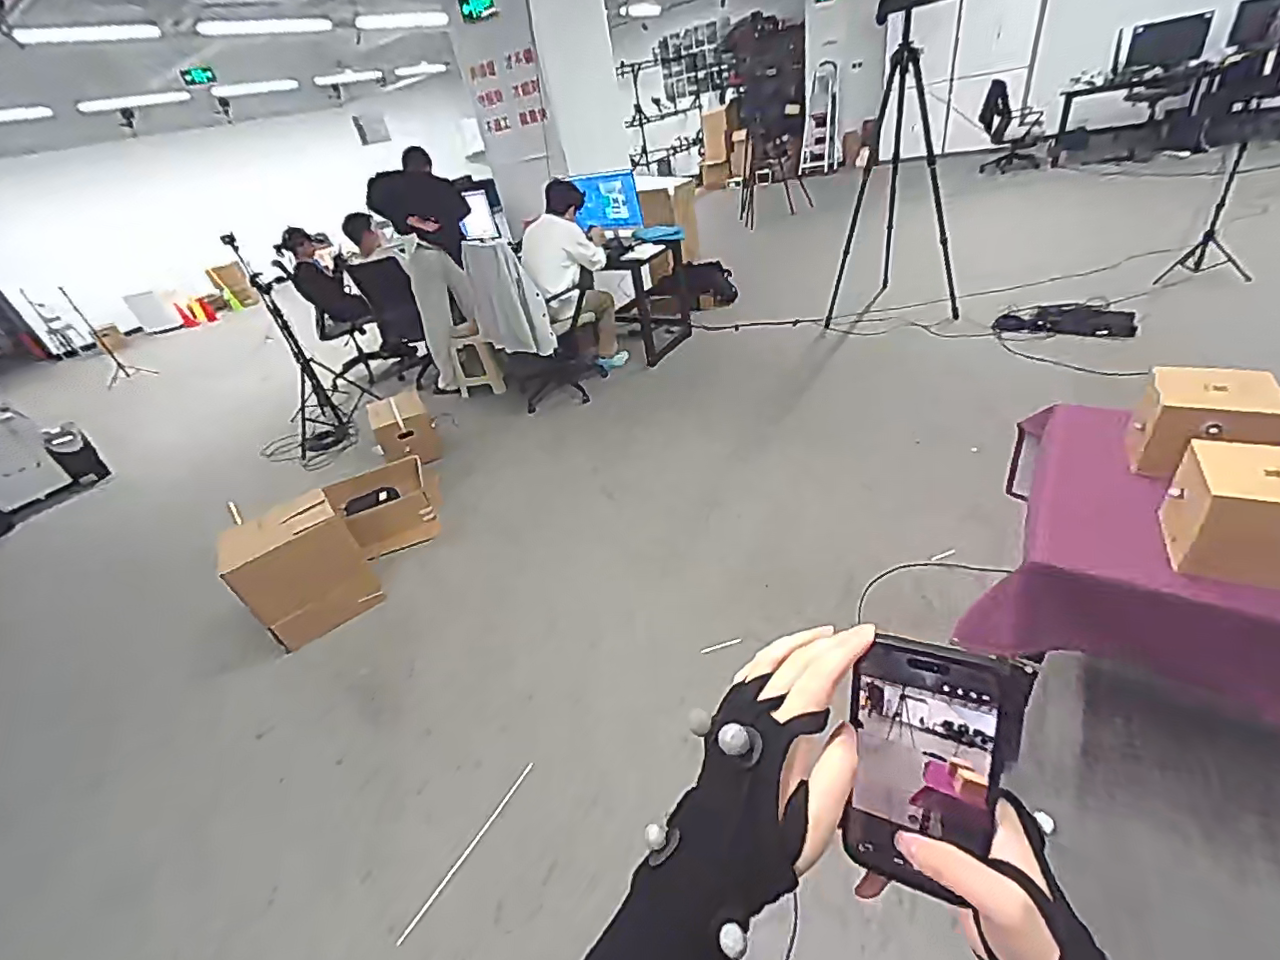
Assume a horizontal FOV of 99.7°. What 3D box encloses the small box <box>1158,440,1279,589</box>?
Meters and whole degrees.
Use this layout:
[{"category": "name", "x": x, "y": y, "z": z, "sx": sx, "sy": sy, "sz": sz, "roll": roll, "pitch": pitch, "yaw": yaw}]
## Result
[{"category": "small box", "x": 0.992, "y": 0.055, "z": 0.883, "sx": 0.179, "sy": 0.176, "sz": 0.168, "roll": 11, "pitch": 41, "yaw": 28}]
